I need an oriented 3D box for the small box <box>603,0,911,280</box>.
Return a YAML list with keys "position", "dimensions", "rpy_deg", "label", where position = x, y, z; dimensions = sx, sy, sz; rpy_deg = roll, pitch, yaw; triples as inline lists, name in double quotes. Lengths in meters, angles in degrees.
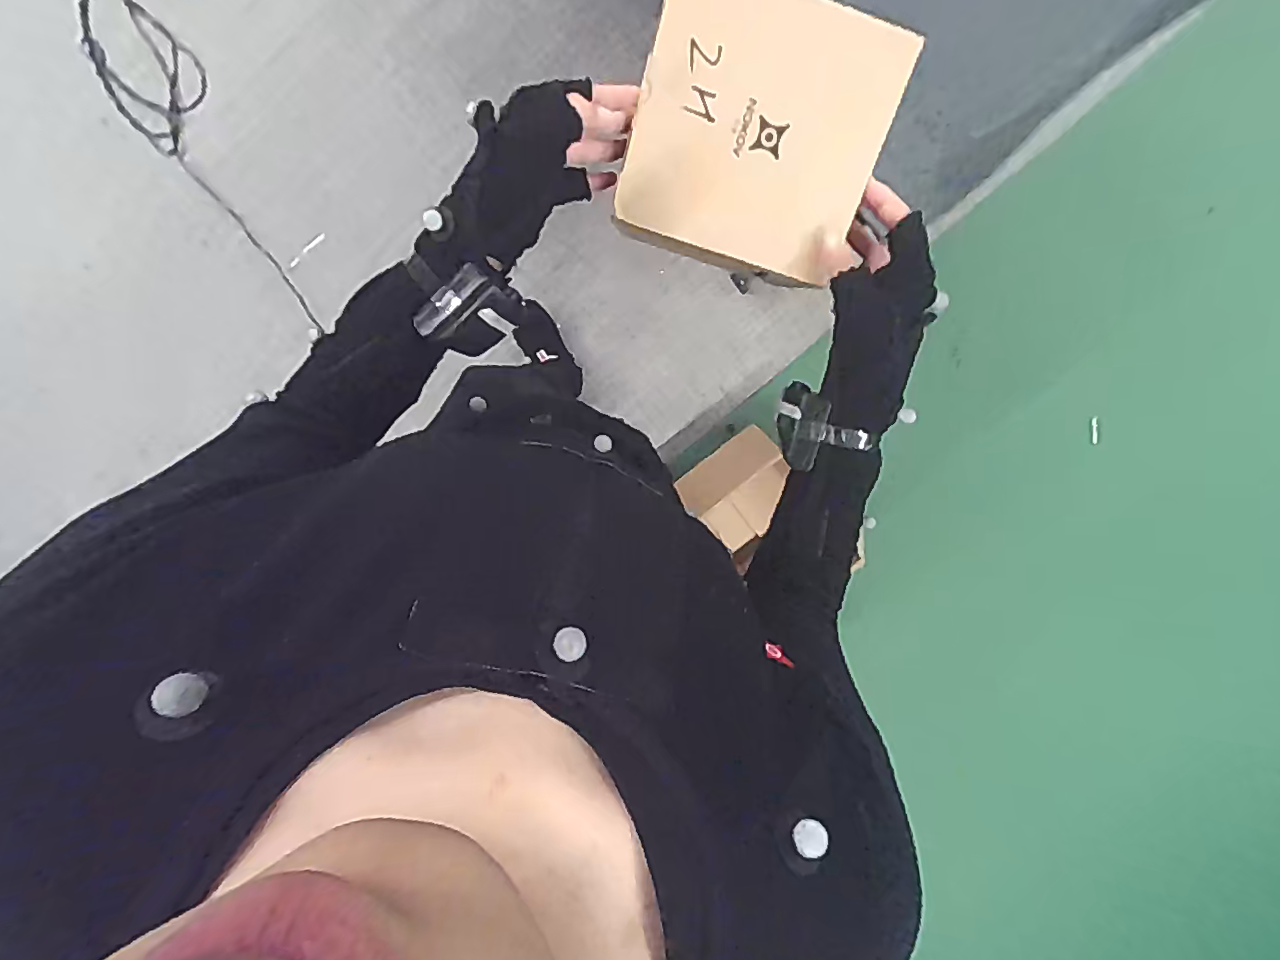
- position: [0.078, -0.277, 0.452]
  dimensions: [0.179, 0.176, 0.168]
  rpy_deg: [15, 110, -4]
  label: "small box"
